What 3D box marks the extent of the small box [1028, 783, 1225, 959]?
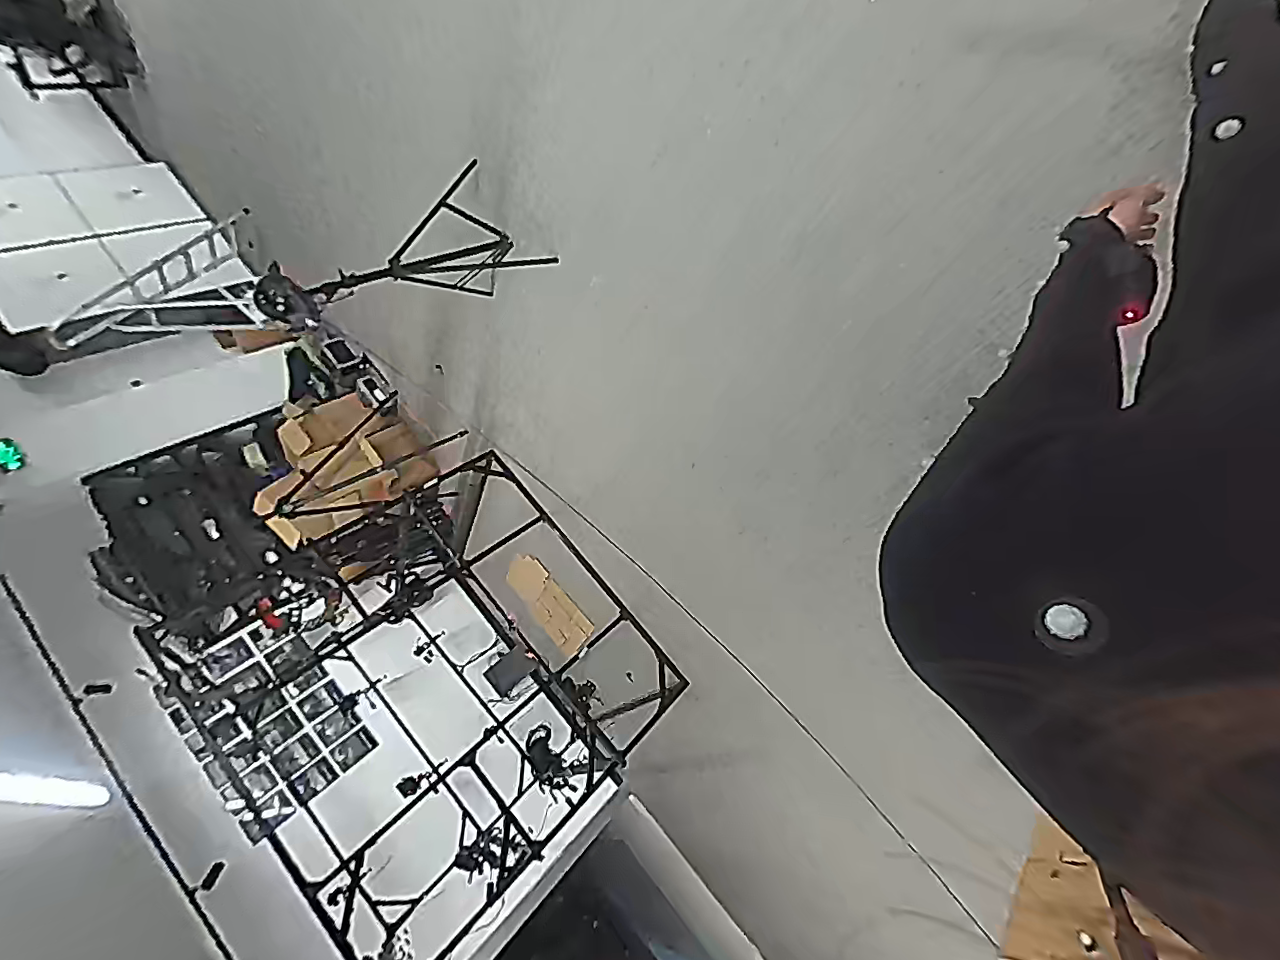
[{"bbox_3d":[0.797,0.629,0.890,0.179,0.176,0.168,49,146,8],"label":"small box"}]
